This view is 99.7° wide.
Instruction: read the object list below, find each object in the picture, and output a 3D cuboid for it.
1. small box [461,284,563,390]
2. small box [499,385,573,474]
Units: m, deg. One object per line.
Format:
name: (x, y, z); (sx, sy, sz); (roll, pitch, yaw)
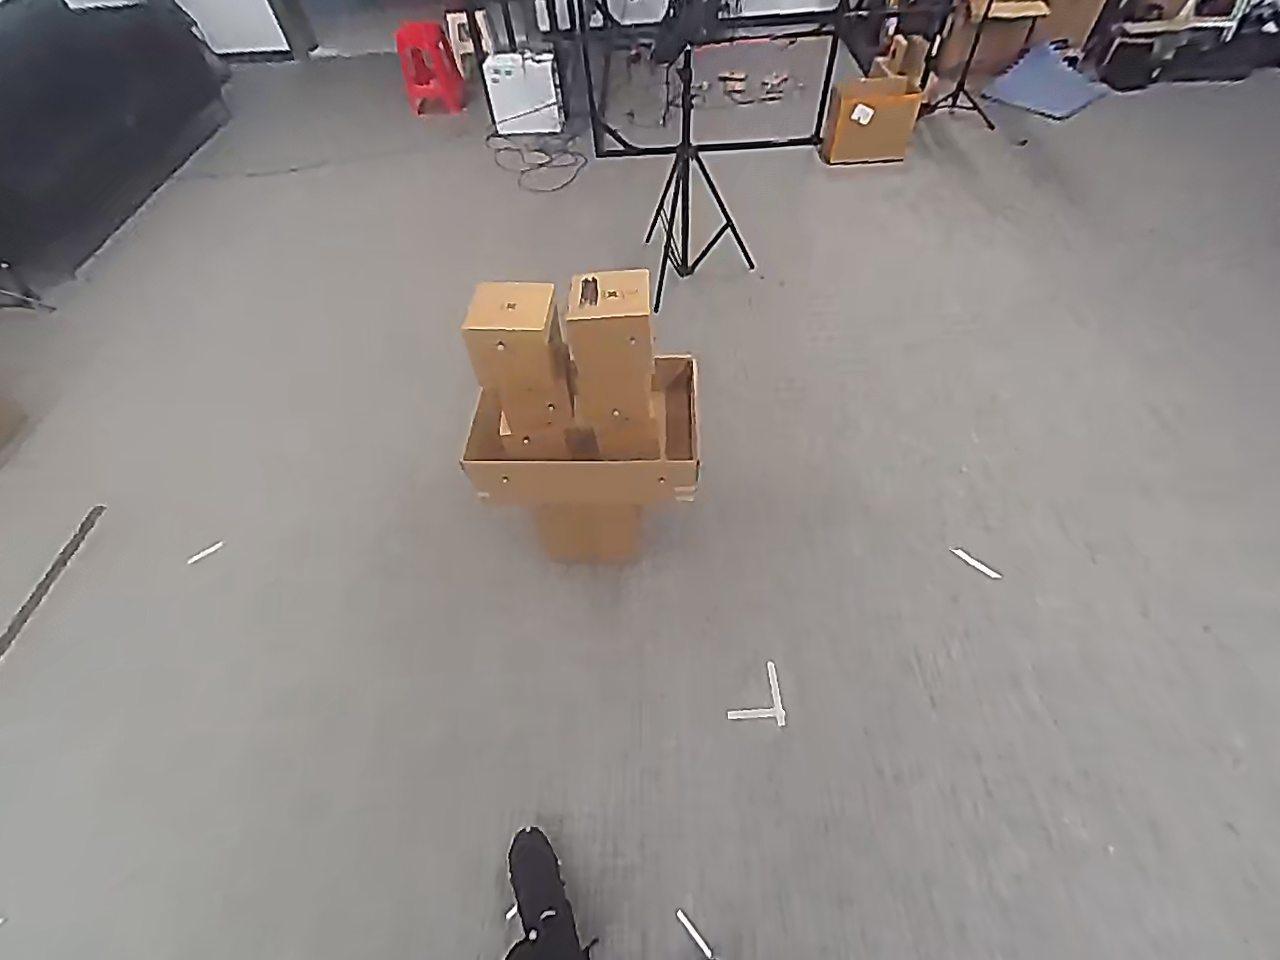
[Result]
small box: (-0.277, -0.319, 1.222); (0.179, 0.176, 0.168); (2, 54, 3)
small box: (-0.280, -0.138, 1.492); (0.168, 0.176, 0.179); (-5, 53, 0)
